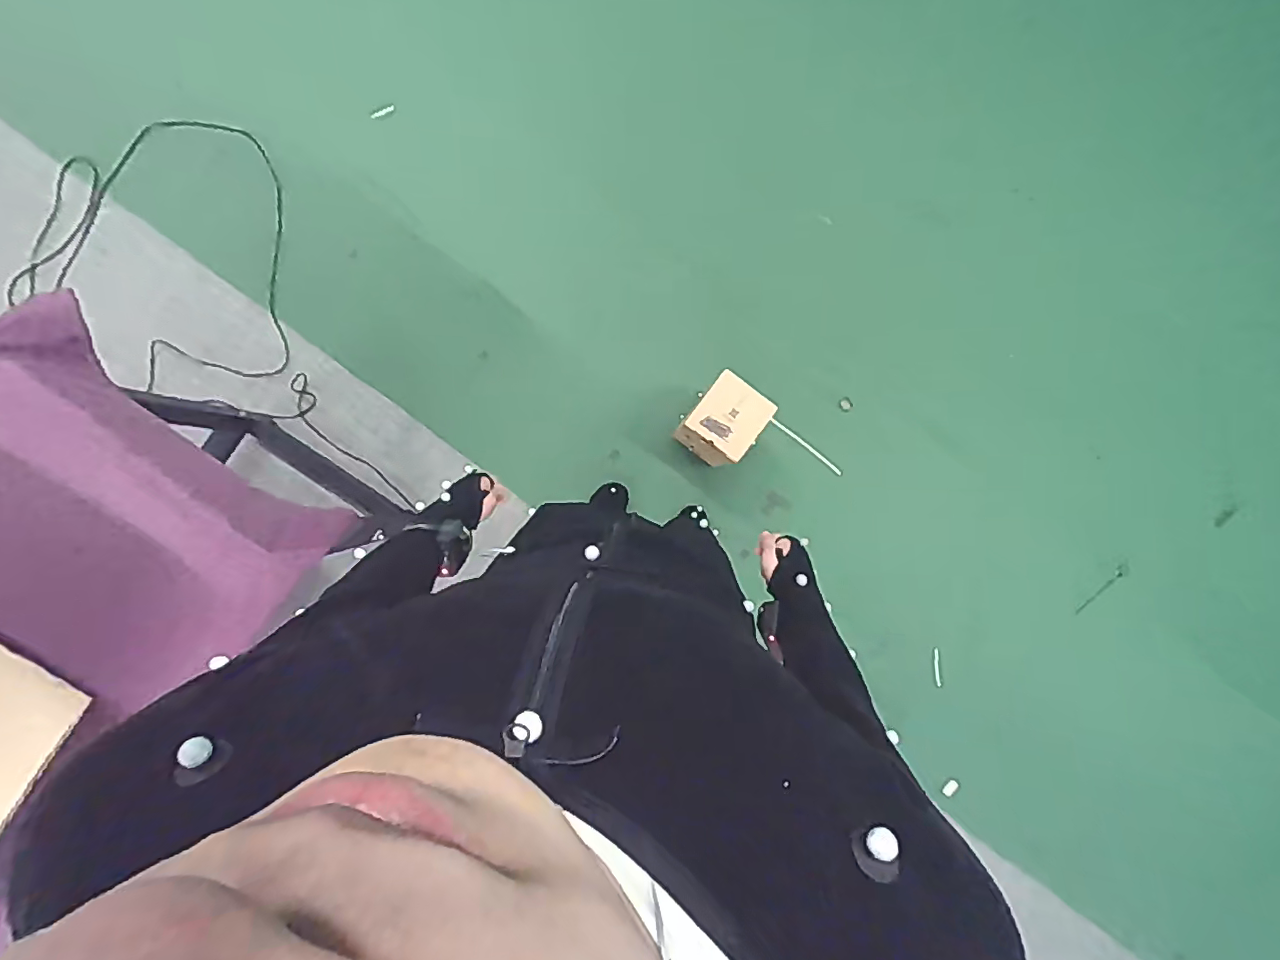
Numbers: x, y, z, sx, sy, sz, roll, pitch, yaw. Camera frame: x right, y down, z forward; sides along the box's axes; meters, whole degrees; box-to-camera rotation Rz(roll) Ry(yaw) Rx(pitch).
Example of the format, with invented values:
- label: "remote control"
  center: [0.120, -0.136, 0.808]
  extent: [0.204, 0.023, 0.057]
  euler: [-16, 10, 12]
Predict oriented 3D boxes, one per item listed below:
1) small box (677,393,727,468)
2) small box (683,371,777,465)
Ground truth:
- label: "small box"
  center: [0.220, -0.151, 1.572]
  extent: [0.168, 0.176, 0.179]
  euler: [37, 89, -1]
- label: "small box"
  center: [0.224, -0.152, 1.408]
  extent: [0.168, 0.176, 0.179]
  euler: [37, 88, -1]
